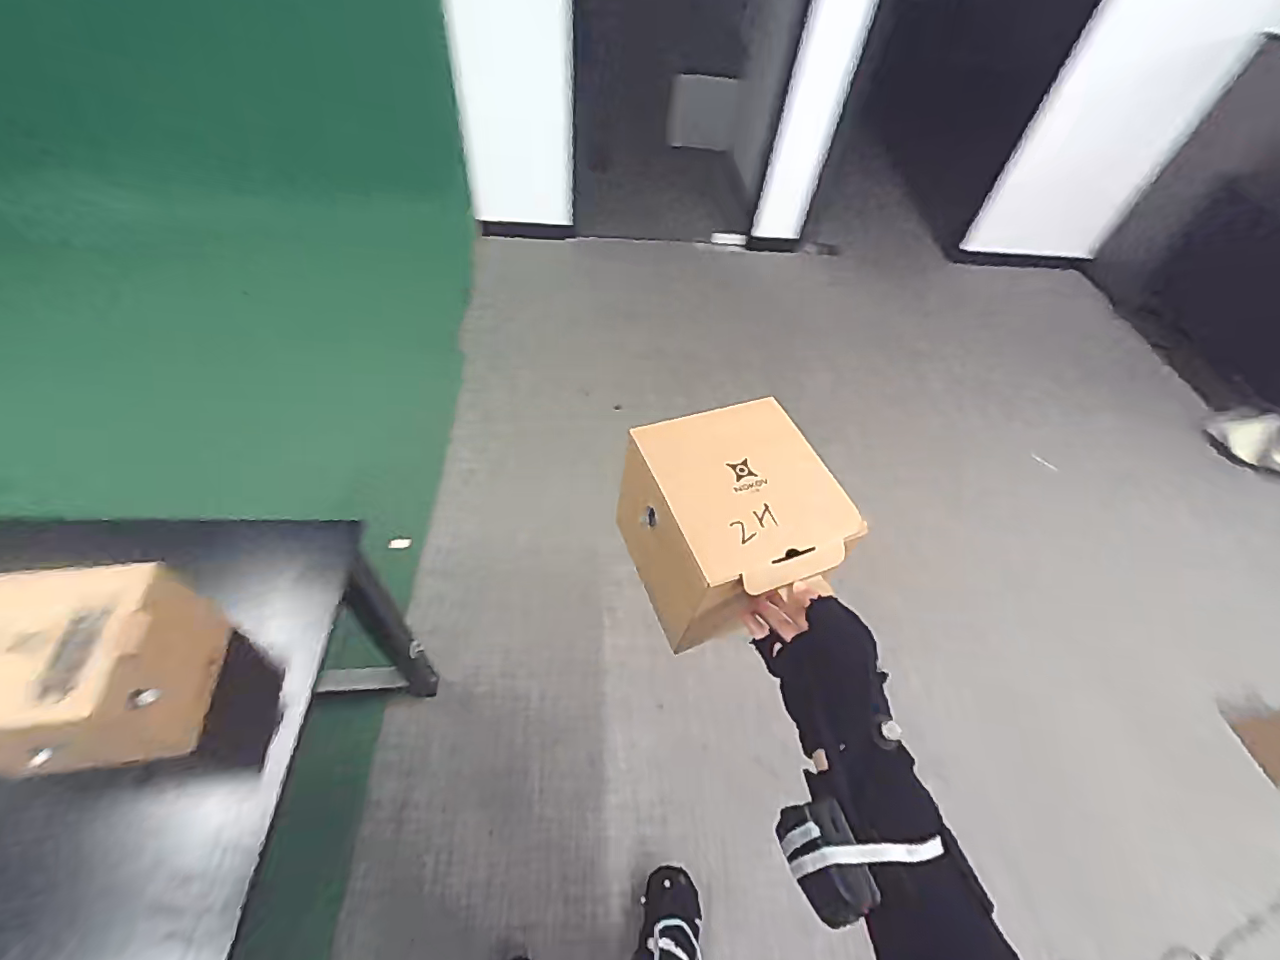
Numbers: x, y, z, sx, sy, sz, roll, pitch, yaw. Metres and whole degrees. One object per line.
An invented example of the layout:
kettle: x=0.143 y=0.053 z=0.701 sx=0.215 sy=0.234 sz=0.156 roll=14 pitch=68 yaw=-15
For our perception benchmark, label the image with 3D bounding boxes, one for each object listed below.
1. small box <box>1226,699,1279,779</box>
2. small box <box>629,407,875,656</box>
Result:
small box: x=1.766 y=0.690 z=1.445 sx=0.168 sy=0.176 sz=0.179 roll=-3 pitch=51 yaw=-10
small box: x=0.095 y=0.054 z=0.563 sx=0.168 sy=0.176 sz=0.179 roll=-14 pitch=57 yaw=-18
